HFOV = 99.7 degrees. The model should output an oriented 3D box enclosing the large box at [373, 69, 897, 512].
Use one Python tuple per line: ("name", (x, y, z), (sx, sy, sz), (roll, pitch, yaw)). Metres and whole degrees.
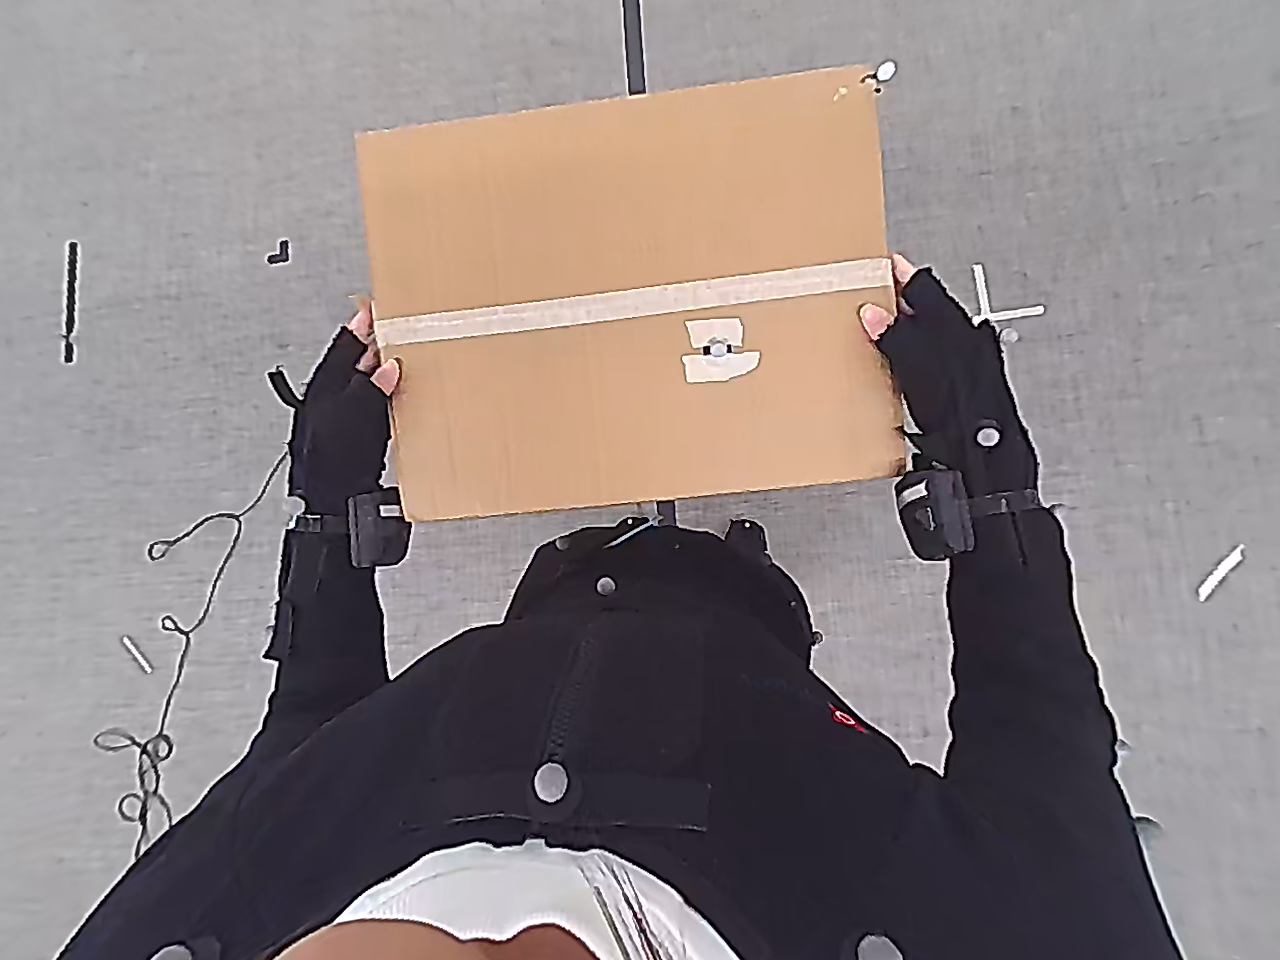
("large box", (-0.001, -0.155, 0.586), (0.408, 0.320, 0.320), (-6, 94, 2))
